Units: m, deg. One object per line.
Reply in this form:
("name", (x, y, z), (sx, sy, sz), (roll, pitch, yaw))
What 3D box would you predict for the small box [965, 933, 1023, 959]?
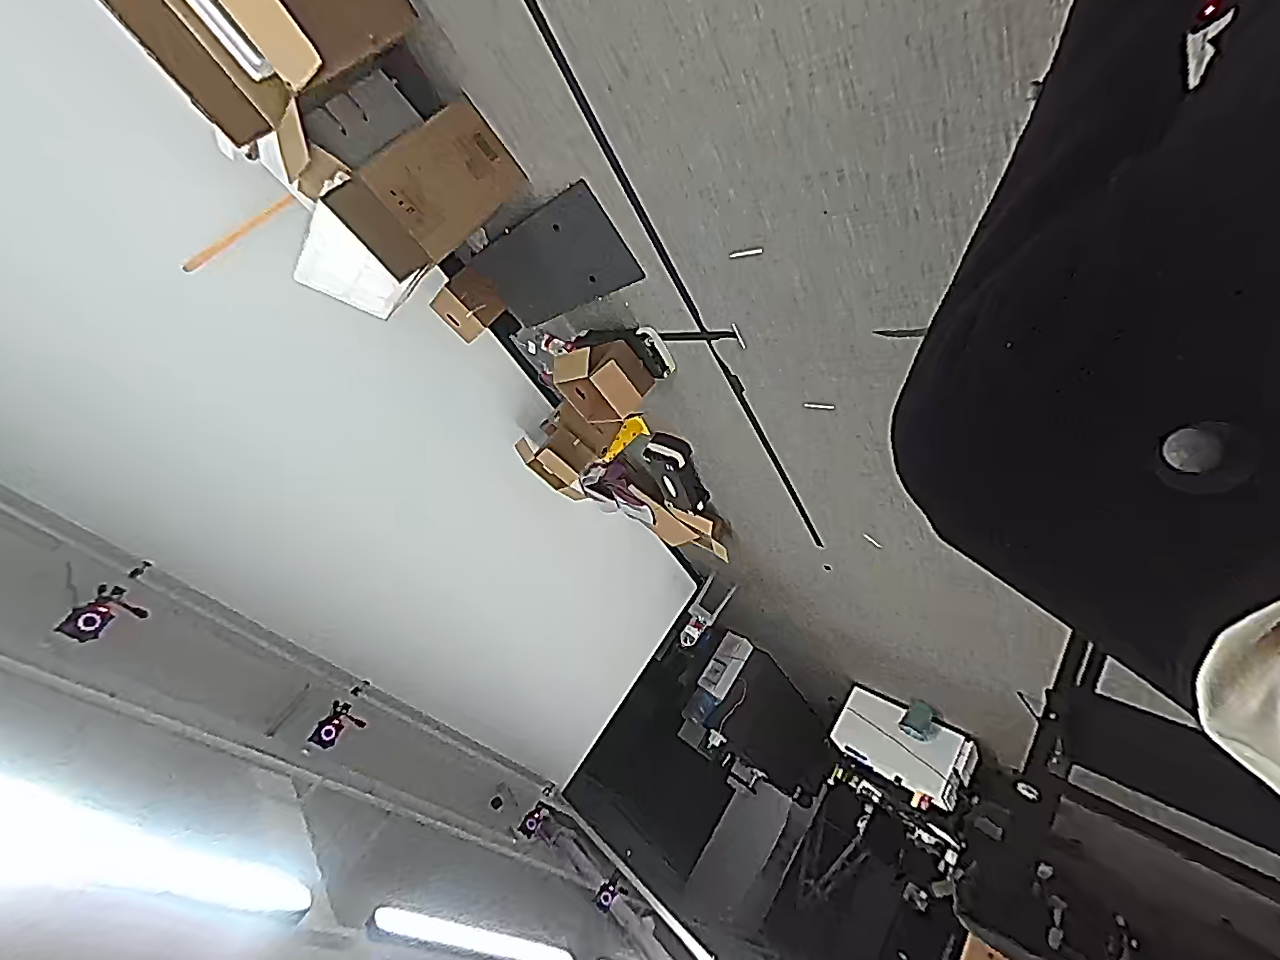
("small box", (0.998, 1.391, 1.483), (0.168, 0.176, 0.179), (11, 153, 52))
